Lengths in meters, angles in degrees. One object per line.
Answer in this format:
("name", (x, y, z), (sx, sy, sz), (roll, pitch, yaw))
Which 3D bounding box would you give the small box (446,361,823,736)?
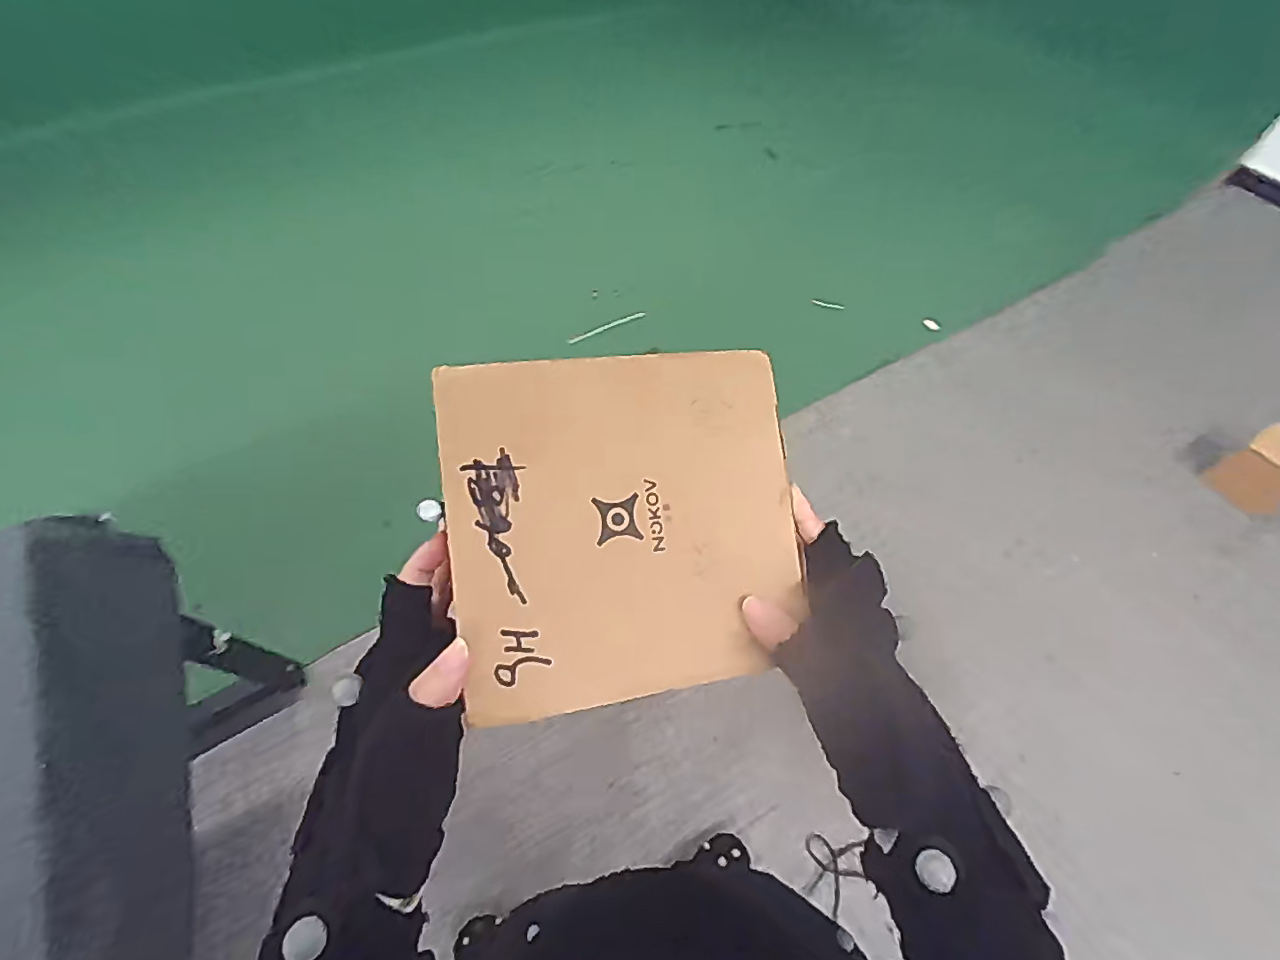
("small box", (-0.017, 0.035, 0.347), (0.179, 0.176, 0.168), (-8, 84, -14))

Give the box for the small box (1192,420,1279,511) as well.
("small box", (1.778, -0.033, 1.554), (0.168, 0.176, 0.179), (-29, 61, -18))
